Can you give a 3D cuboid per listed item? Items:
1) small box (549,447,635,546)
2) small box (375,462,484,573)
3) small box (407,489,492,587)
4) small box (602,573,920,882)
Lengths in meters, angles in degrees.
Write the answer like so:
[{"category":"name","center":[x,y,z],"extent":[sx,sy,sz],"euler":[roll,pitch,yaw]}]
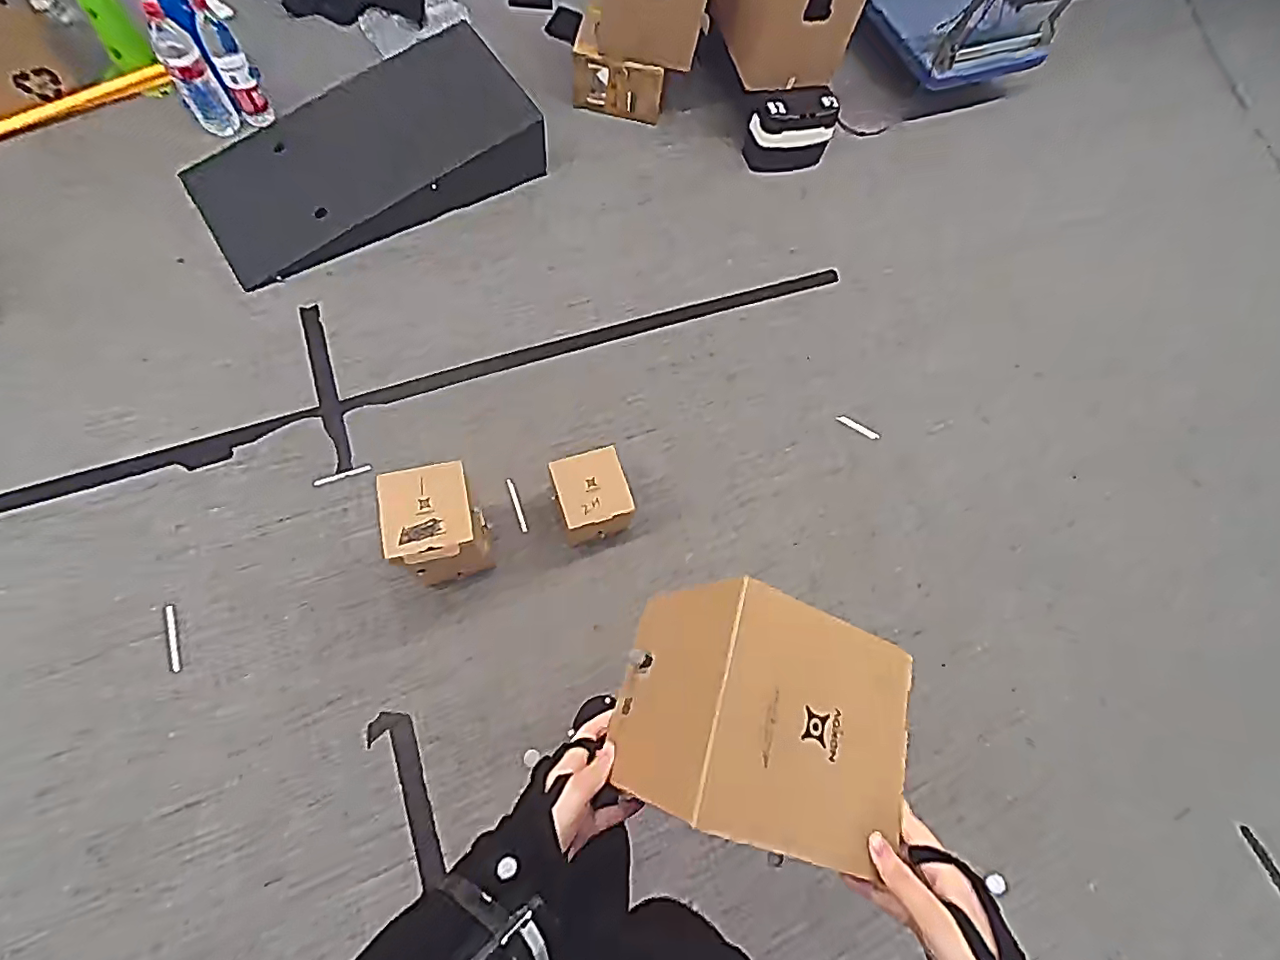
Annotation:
[{"category":"small box","center":[-0.124,0.045,1.342],"extent":[0.168,0.176,0.179],"euler":[-16,73,-12]},{"category":"small box","center":[-0.424,0.086,1.110],"extent":[0.168,0.176,0.179],"euler":[-11,71,-12]},{"category":"small box","center":[-0.451,0.138,1.265],"extent":[0.179,0.176,0.168],"euler":[-16,73,-14]},{"category":"small box","center":[0.095,0.193,0.449],"extent":[0.179,0.176,0.168],"euler":[27,63,-17]}]
